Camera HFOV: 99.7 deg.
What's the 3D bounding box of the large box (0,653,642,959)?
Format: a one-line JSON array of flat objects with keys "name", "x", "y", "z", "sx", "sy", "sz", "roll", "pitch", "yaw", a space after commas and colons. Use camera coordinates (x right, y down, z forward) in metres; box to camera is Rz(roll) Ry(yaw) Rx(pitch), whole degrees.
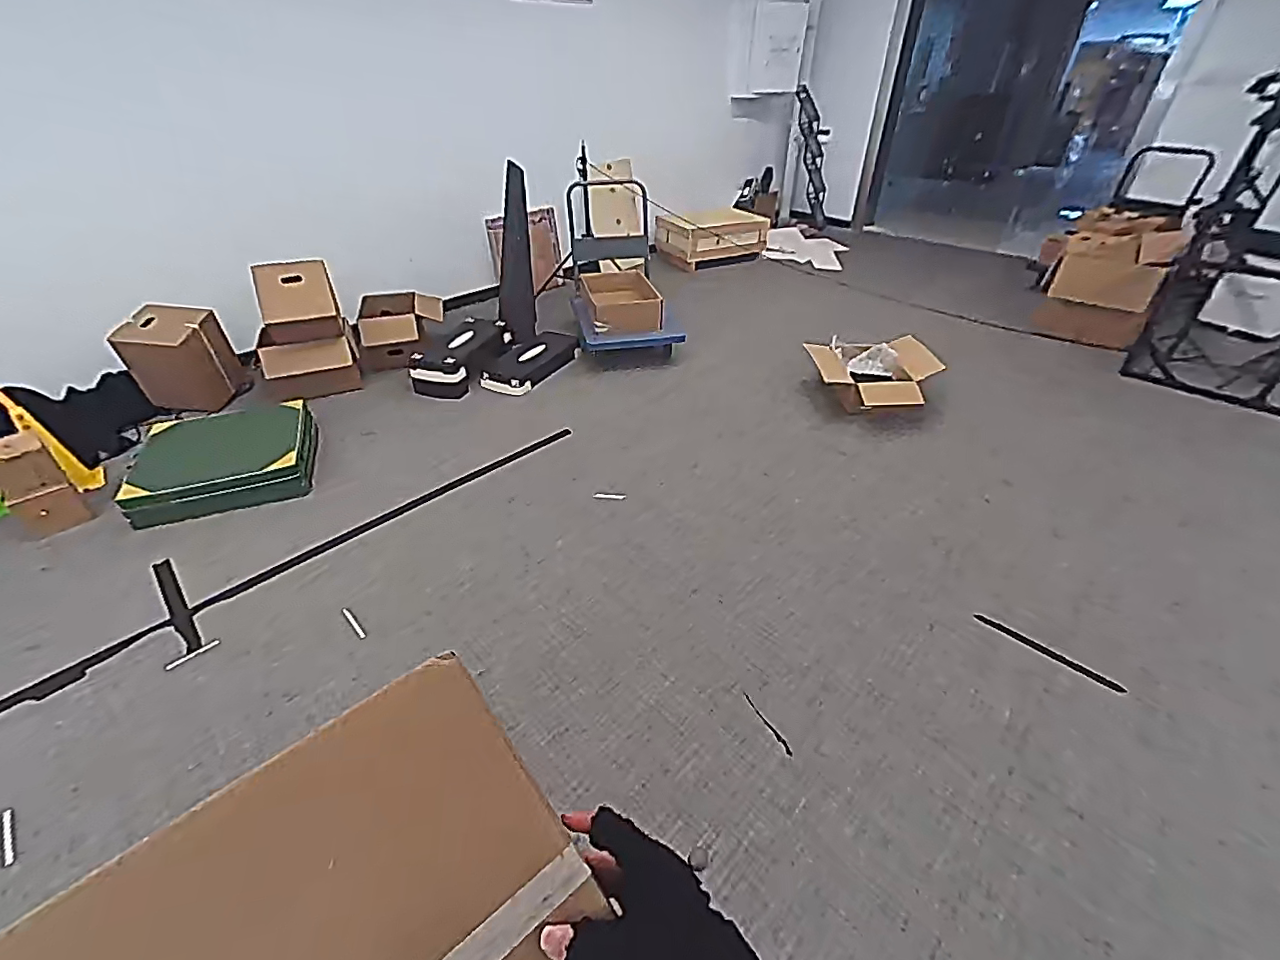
[{"name": "large box", "x": -0.230, "y": 0.395, "z": 0.382, "sx": 0.408, "sy": 0.320, "sz": 0.320, "roll": -30, "pitch": 75, "yaw": -26}]
